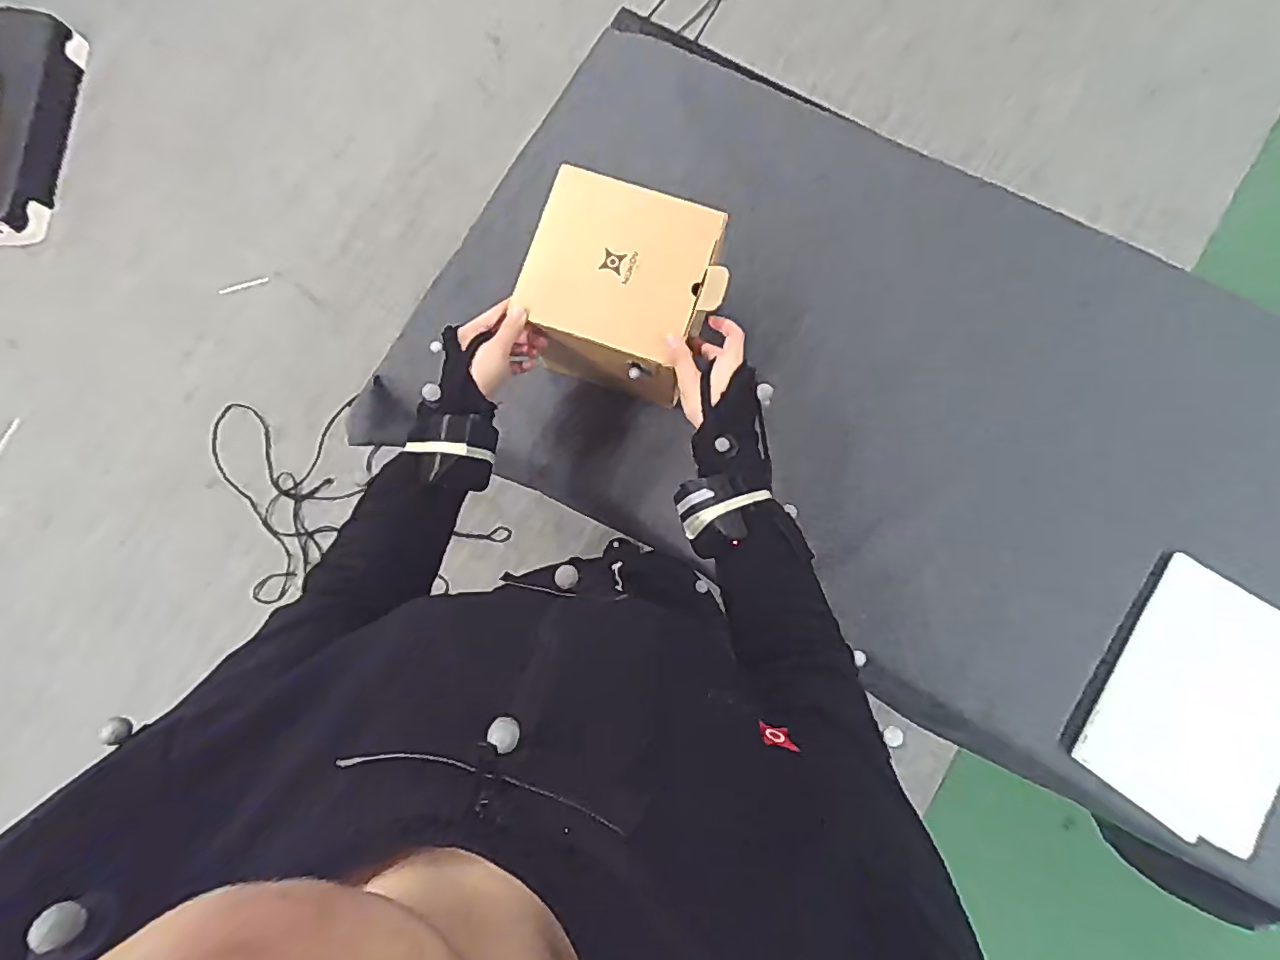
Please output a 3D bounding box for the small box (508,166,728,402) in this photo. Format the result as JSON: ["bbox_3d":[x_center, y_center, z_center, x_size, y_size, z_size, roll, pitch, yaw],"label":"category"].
[{"bbox_3d":[-0.019,-0.201,0.603,0.179,0.176,0.168,18,84,3],"label":"small box"}]
